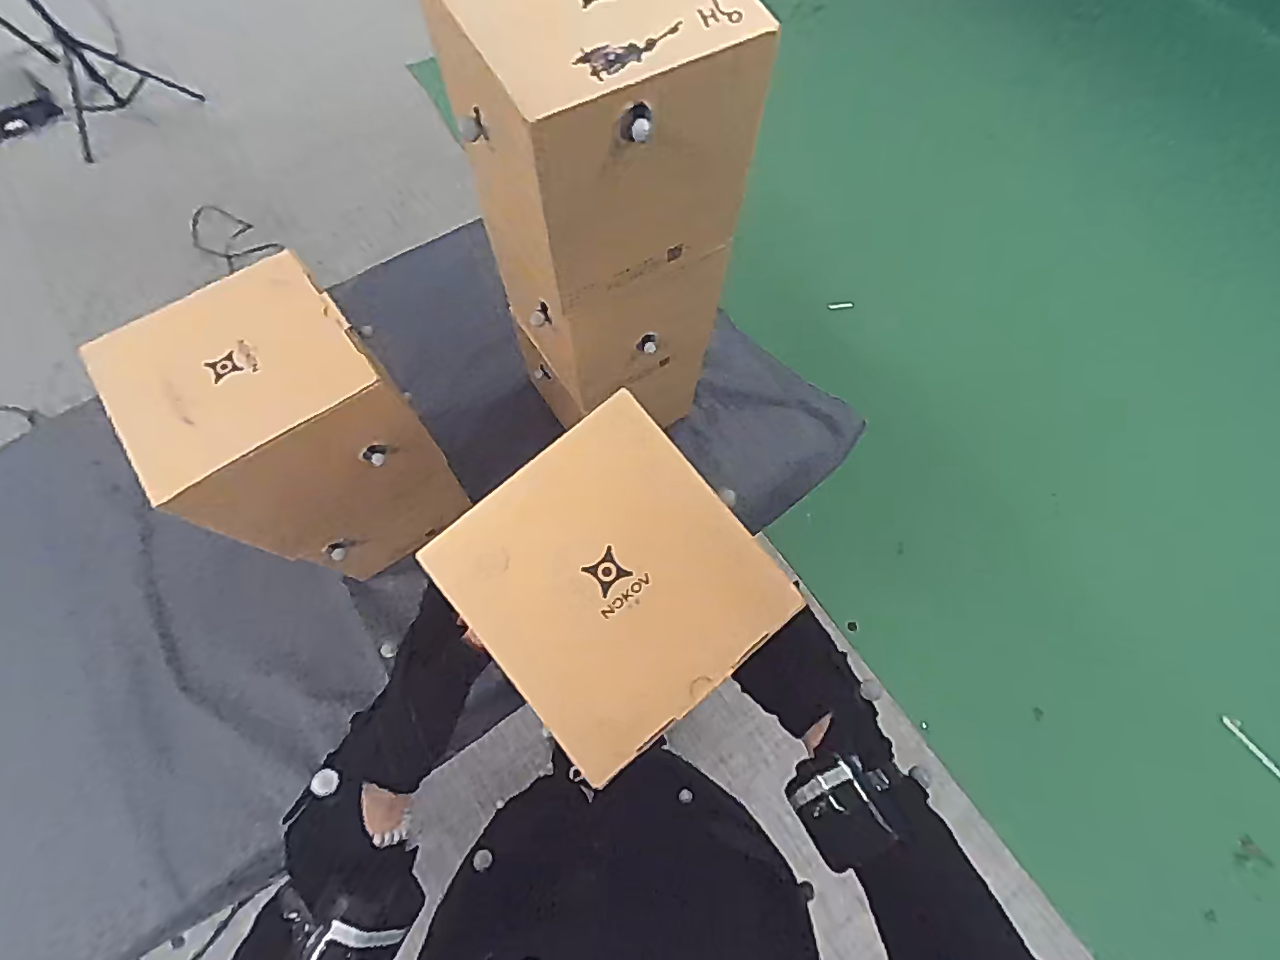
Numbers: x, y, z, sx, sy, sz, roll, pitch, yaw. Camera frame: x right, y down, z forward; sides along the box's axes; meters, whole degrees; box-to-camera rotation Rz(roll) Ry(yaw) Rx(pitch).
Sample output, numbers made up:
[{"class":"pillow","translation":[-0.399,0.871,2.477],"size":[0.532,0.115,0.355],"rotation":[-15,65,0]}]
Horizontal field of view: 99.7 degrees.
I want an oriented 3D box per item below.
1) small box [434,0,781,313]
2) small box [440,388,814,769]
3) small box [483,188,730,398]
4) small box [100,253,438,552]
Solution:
[{"class":"small box","translation":[-0.029,-0.264,0.404],"size":[0.168,0.176,0.179],"rotation":[-29,72,-11]},{"class":"small box","translation":[-0.011,0.066,0.409],"size":[0.168,0.176,0.179],"rotation":[-39,85,-6]},{"class":"small box","translation":[-0.032,-0.207,0.558],"size":[0.168,0.176,0.179],"rotation":[-30,73,-12]},{"class":"small box","translation":[-0.310,-0.060,0.497],"size":[0.179,0.176,0.168],"rotation":[-35,73,-13]}]
